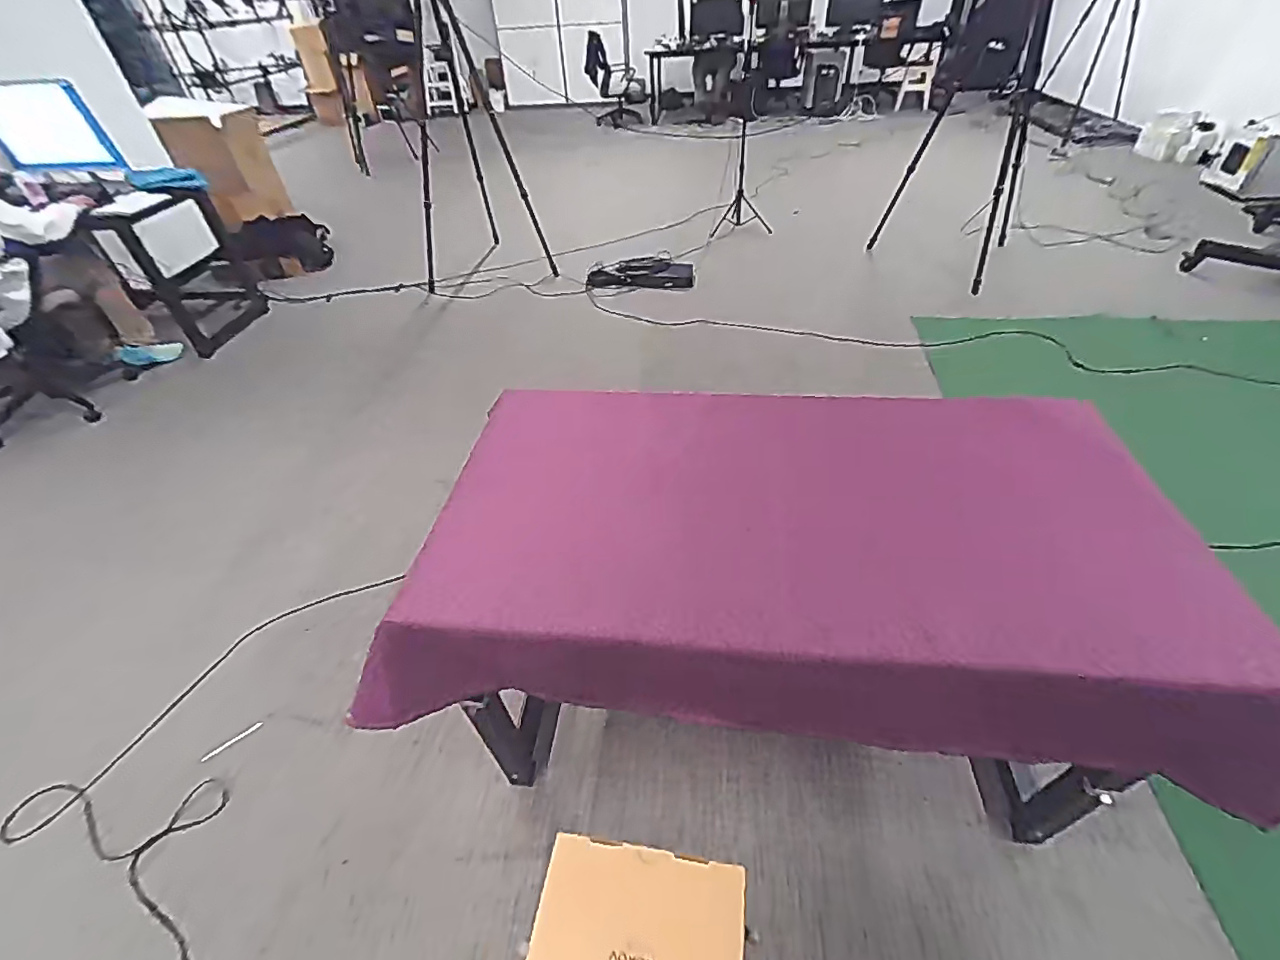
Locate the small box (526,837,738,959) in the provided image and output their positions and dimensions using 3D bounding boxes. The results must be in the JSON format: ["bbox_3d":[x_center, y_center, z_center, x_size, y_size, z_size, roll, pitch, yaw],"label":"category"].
[{"bbox_3d":[-0.005,0.448,0.471,0.168,0.176,0.179,4,43,11],"label":"small box"}]
